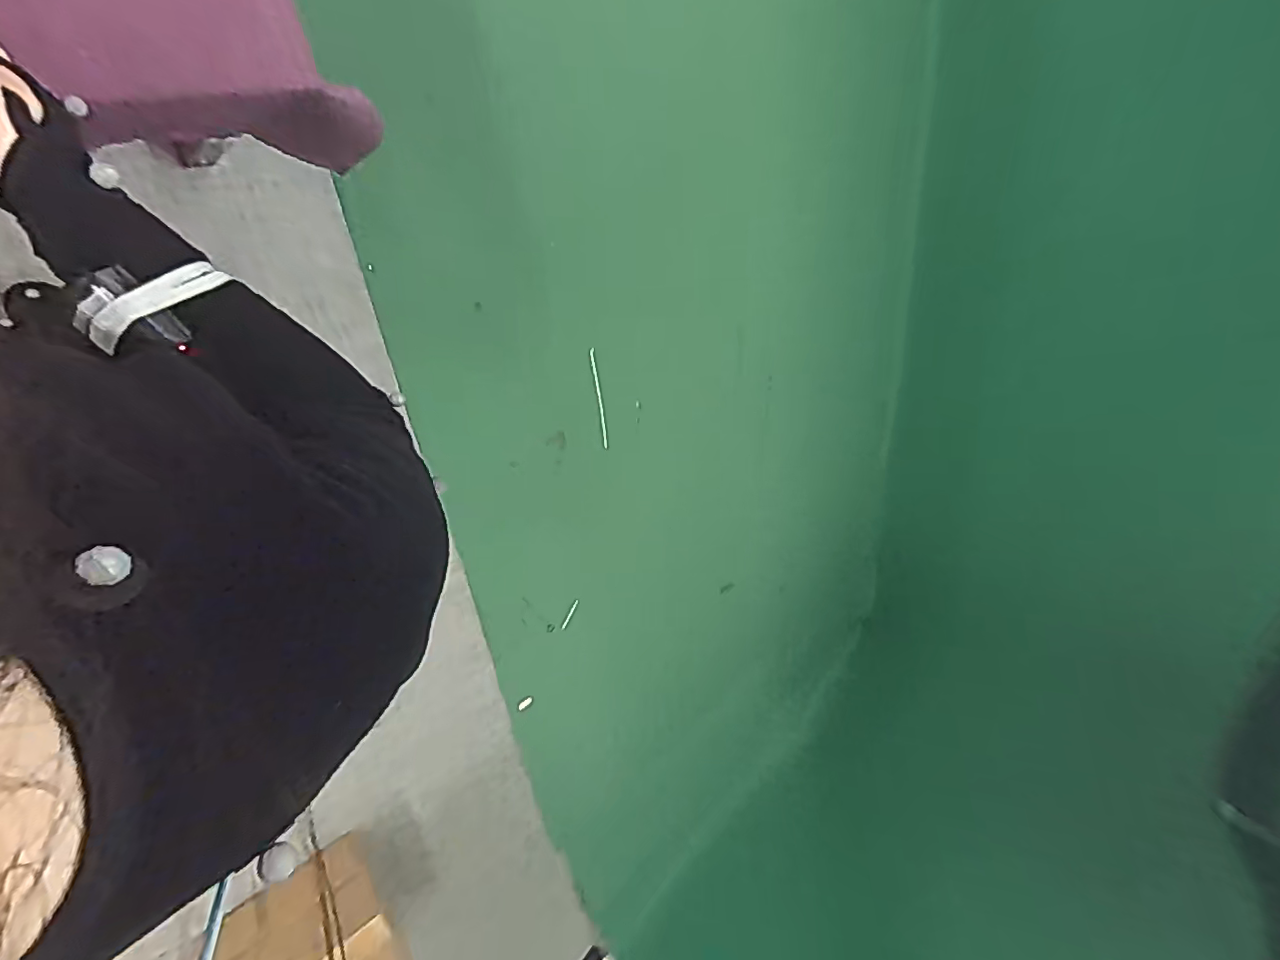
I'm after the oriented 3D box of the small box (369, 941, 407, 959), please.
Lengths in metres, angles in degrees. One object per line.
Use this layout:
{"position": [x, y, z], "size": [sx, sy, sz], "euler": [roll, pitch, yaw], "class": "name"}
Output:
{"position": [-0.698, 1.422, 1.473], "size": [0.168, 0.176, 0.179], "euler": [-25, 124, -36], "class": "small box"}
